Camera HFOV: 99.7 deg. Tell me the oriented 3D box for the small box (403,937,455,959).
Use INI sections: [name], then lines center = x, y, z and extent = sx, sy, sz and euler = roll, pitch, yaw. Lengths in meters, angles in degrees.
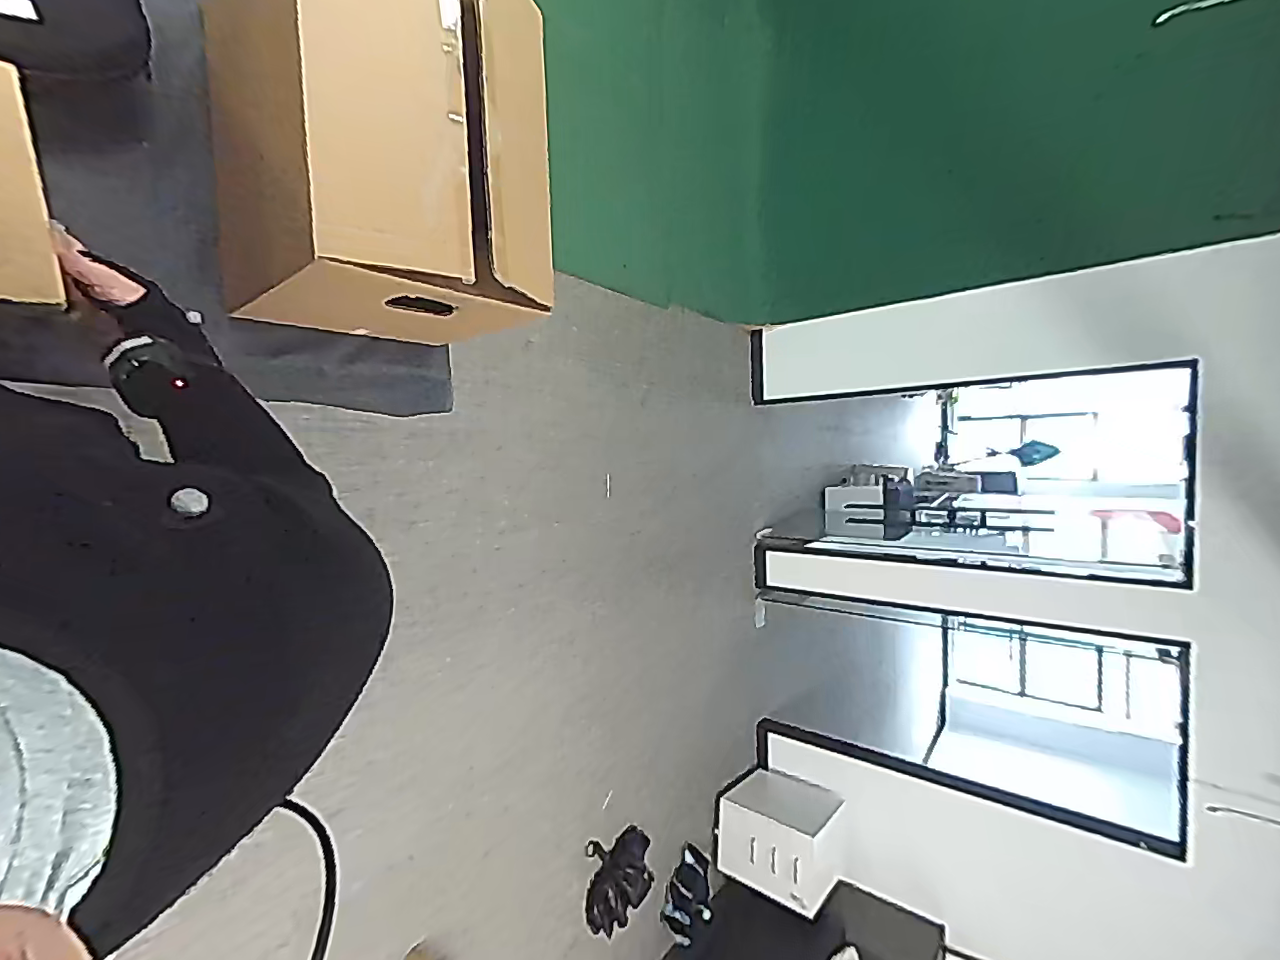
[small box]
center = -0.656, 1.567, 1.670
extent = 0.168, 0.176, 0.179
euler = -52, 131, -36
